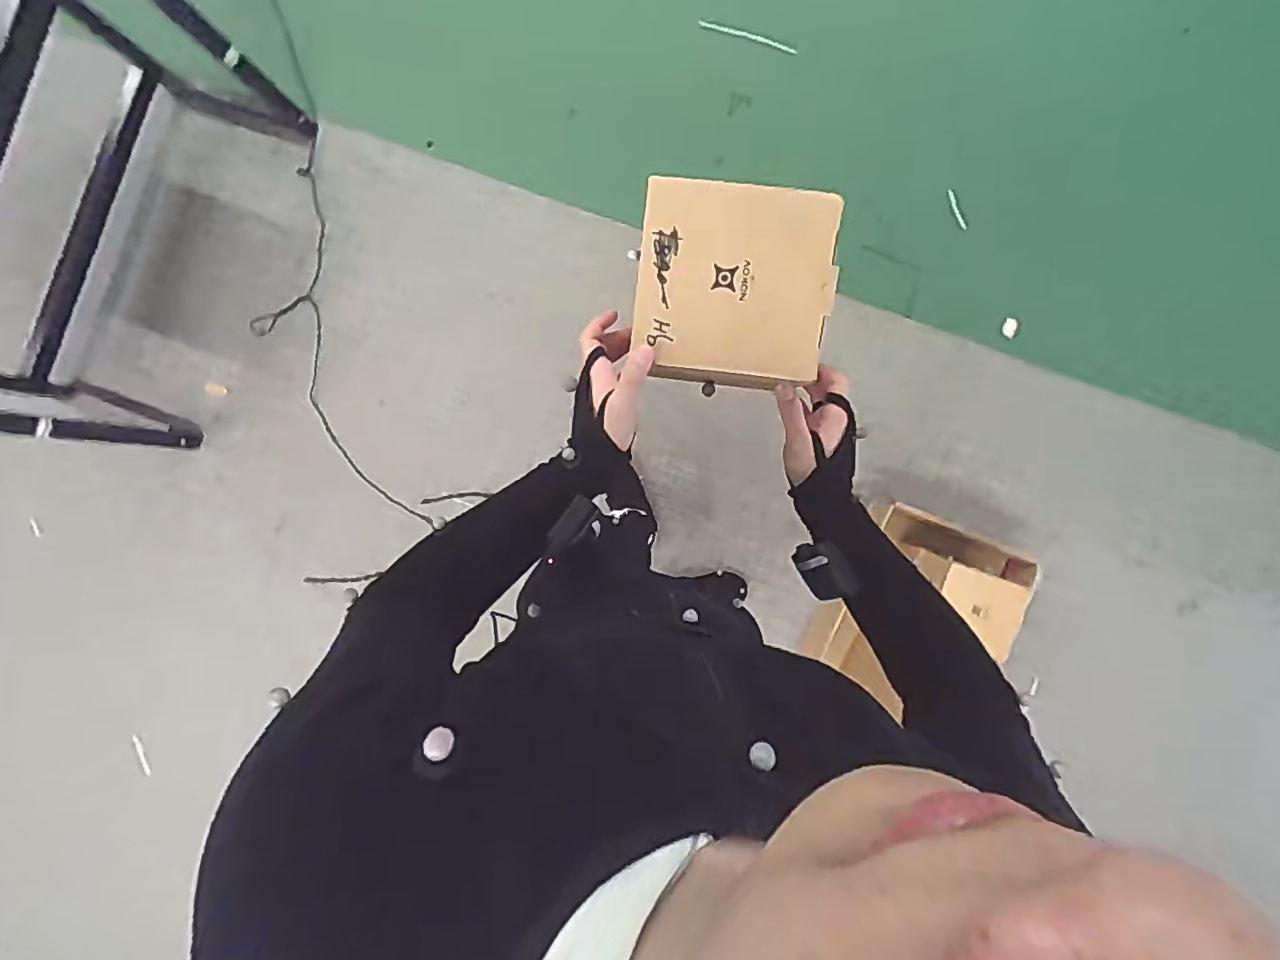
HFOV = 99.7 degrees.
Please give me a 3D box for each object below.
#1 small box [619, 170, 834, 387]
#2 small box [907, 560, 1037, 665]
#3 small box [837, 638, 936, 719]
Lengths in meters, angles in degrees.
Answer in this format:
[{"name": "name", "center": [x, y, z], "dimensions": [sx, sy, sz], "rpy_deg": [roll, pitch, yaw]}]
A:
[{"name": "small box", "center": [0.077, -0.192, 0.566], "dimensions": [0.179, 0.176, 0.168], "rpy_deg": [7, 96, 1]}, {"name": "small box", "center": [0.744, 0.291, 1.236], "dimensions": [0.179, 0.176, 0.168], "rpy_deg": [20, 92, 7]}, {"name": "small box", "center": [0.633, 0.542, 1.405], "dimensions": [0.168, 0.176, 0.179], "rpy_deg": [28, 91, 7]}]
